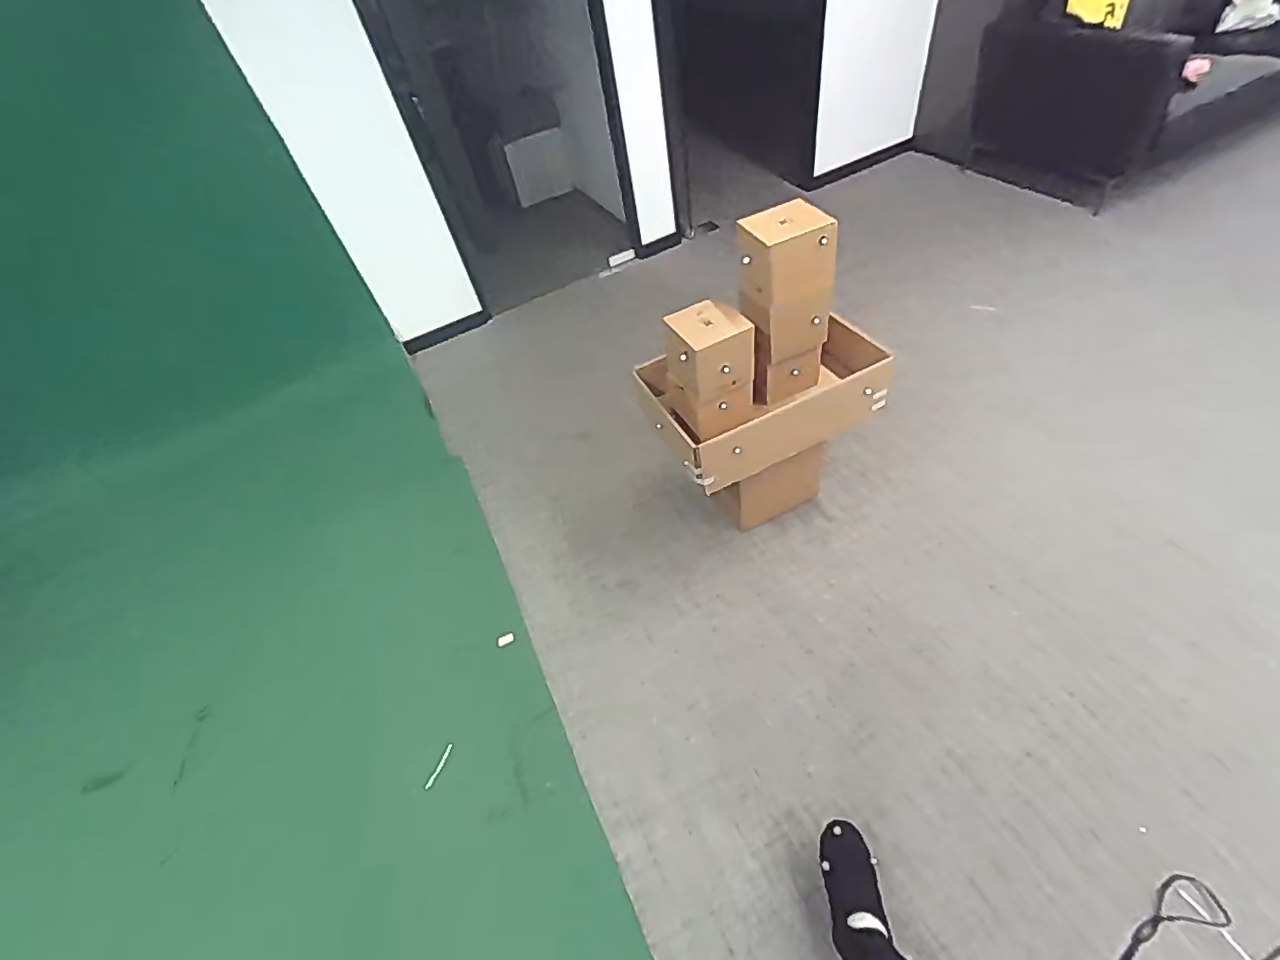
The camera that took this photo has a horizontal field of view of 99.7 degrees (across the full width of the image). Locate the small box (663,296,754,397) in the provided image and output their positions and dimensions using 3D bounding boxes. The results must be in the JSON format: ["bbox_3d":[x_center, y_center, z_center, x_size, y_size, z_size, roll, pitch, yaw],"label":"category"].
[{"bbox_3d":[0.178,-0.333,1.382,0.168,0.176,0.179,-25,49,-10],"label":"small box"}]

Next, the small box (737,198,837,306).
[{"bbox_3d":[0.356,-0.551,1.319,0.179,0.176,0.168,-22,48,-5],"label":"small box"}]
